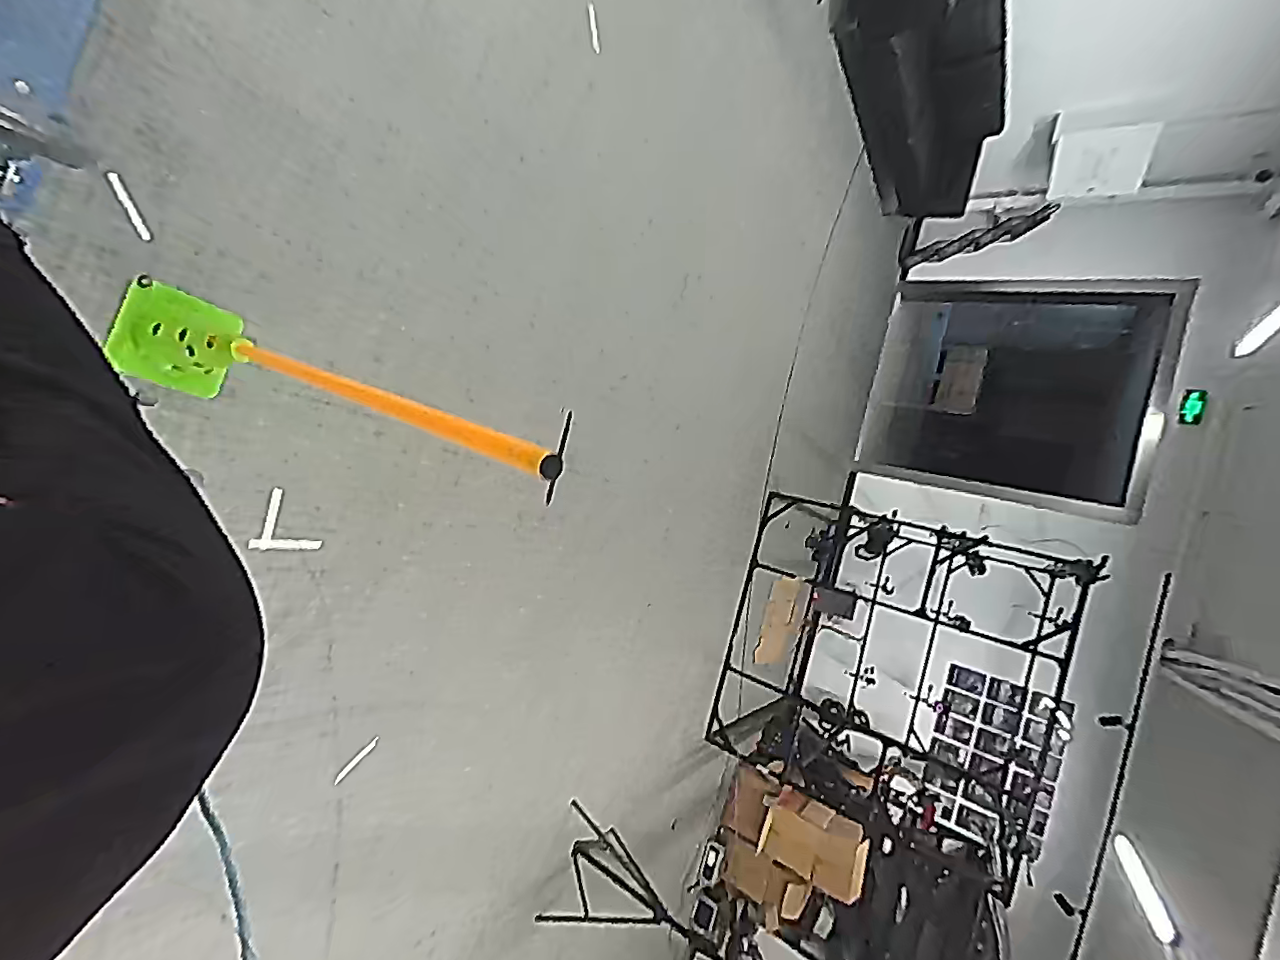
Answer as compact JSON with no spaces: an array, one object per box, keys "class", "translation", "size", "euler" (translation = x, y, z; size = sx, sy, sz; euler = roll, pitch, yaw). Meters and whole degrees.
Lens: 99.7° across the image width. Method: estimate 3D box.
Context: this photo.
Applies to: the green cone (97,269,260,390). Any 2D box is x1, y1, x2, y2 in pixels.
[{"class":"green cone","translation":[-0.849,-0.275,1.053],"size":[0.202,0.368,0.200],"euler":[25,81,-58]}]
